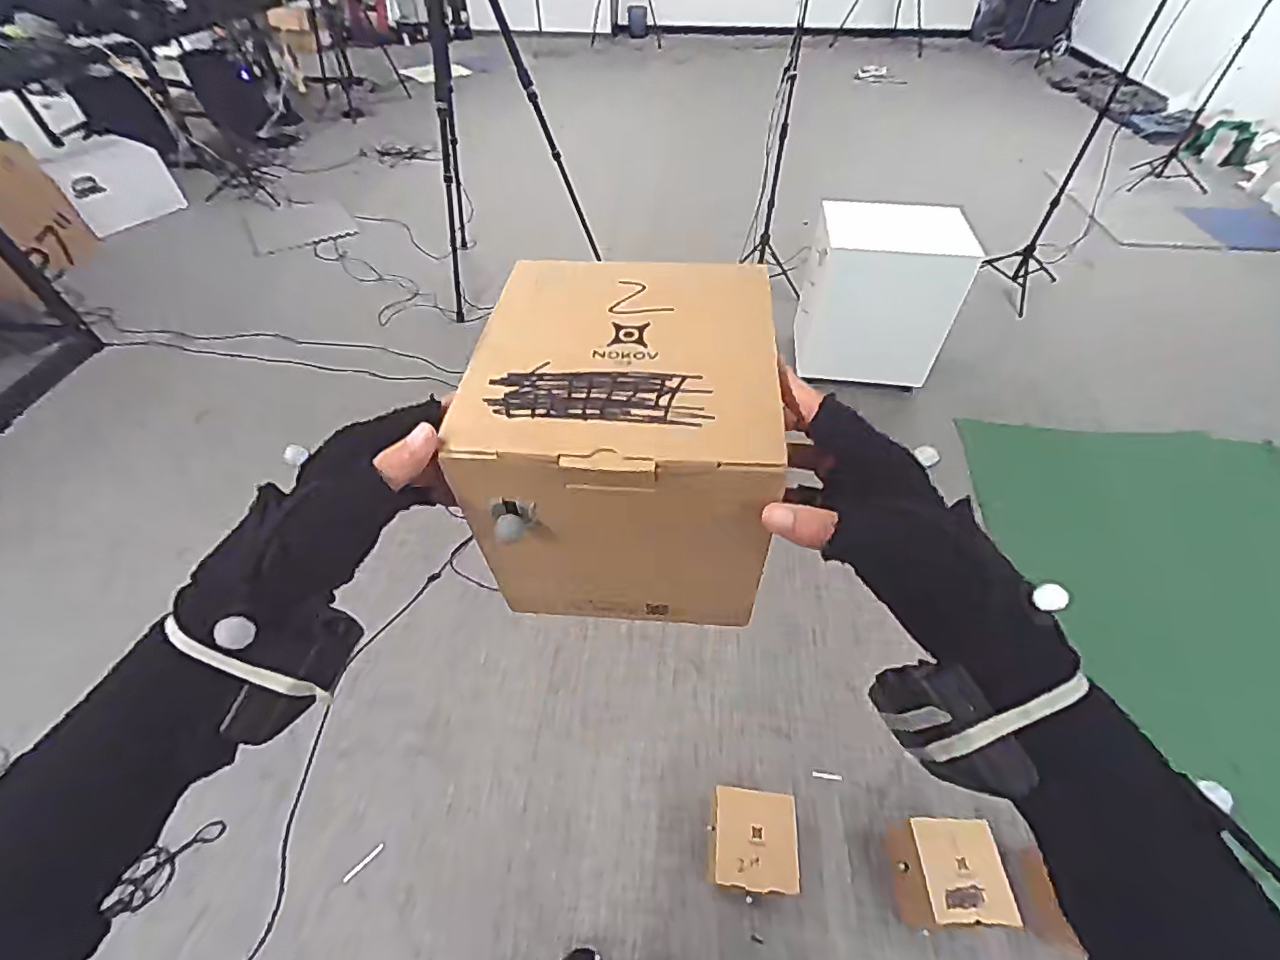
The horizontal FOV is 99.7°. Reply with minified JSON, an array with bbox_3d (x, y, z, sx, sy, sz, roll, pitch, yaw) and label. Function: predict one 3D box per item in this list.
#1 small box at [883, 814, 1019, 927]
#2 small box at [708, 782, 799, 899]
[{"bbox_3d":[0.637,0.819,1.133,0.168,0.176,0.179,2,48,1],"label":"small box"},{"bbox_3d":[0.238,0.777,1.165,0.168,0.176,0.179,5,49,5],"label":"small box"}]
